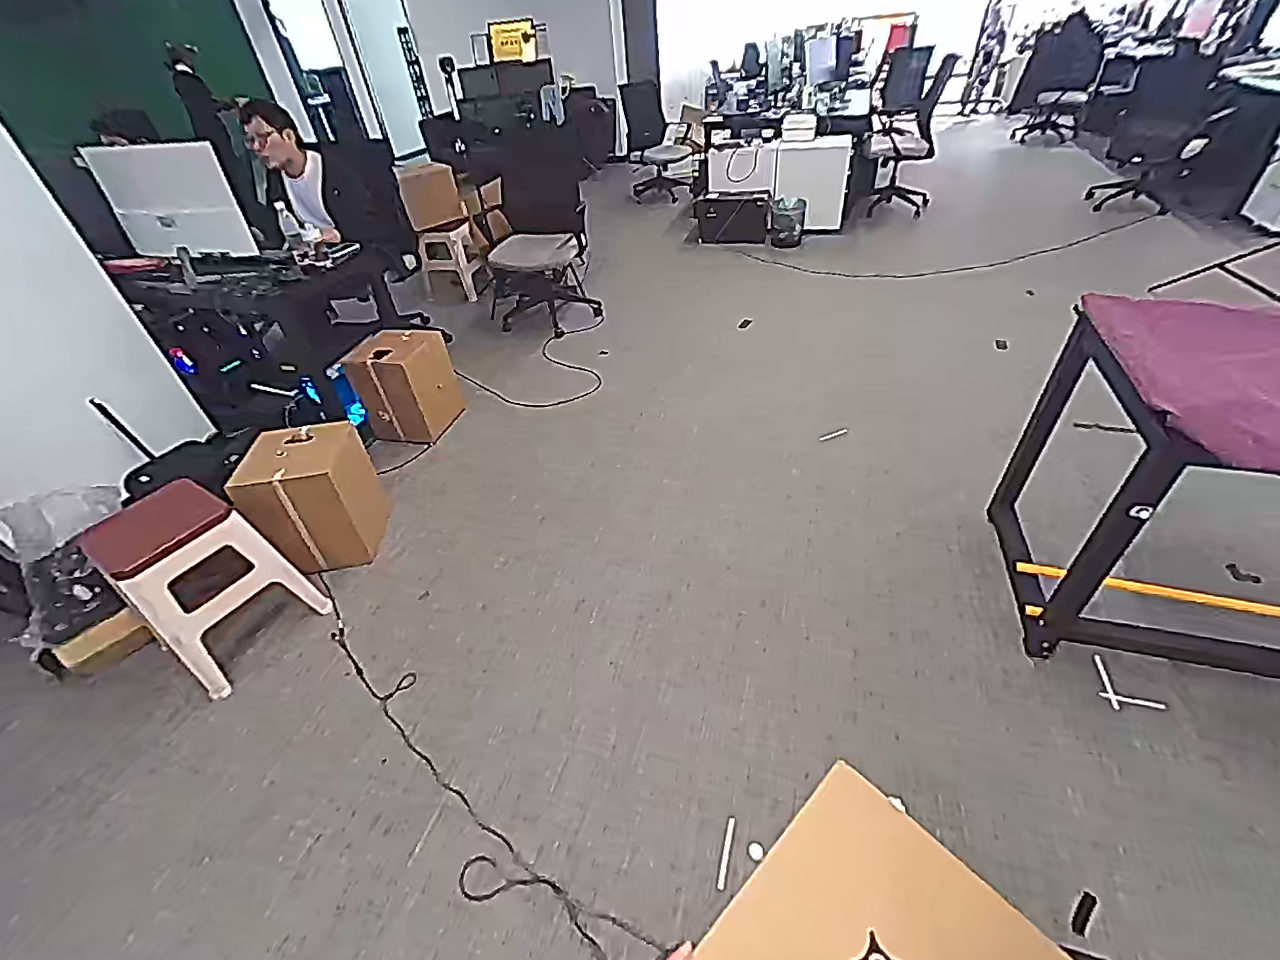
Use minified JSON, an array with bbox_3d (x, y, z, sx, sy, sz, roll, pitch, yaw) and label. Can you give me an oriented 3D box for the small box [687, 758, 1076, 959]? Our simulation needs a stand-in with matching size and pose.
[{"bbox_3d":[0.151,0.334,0.361,0.168,0.176,0.179,-38,54,-22],"label":"small box"}]
